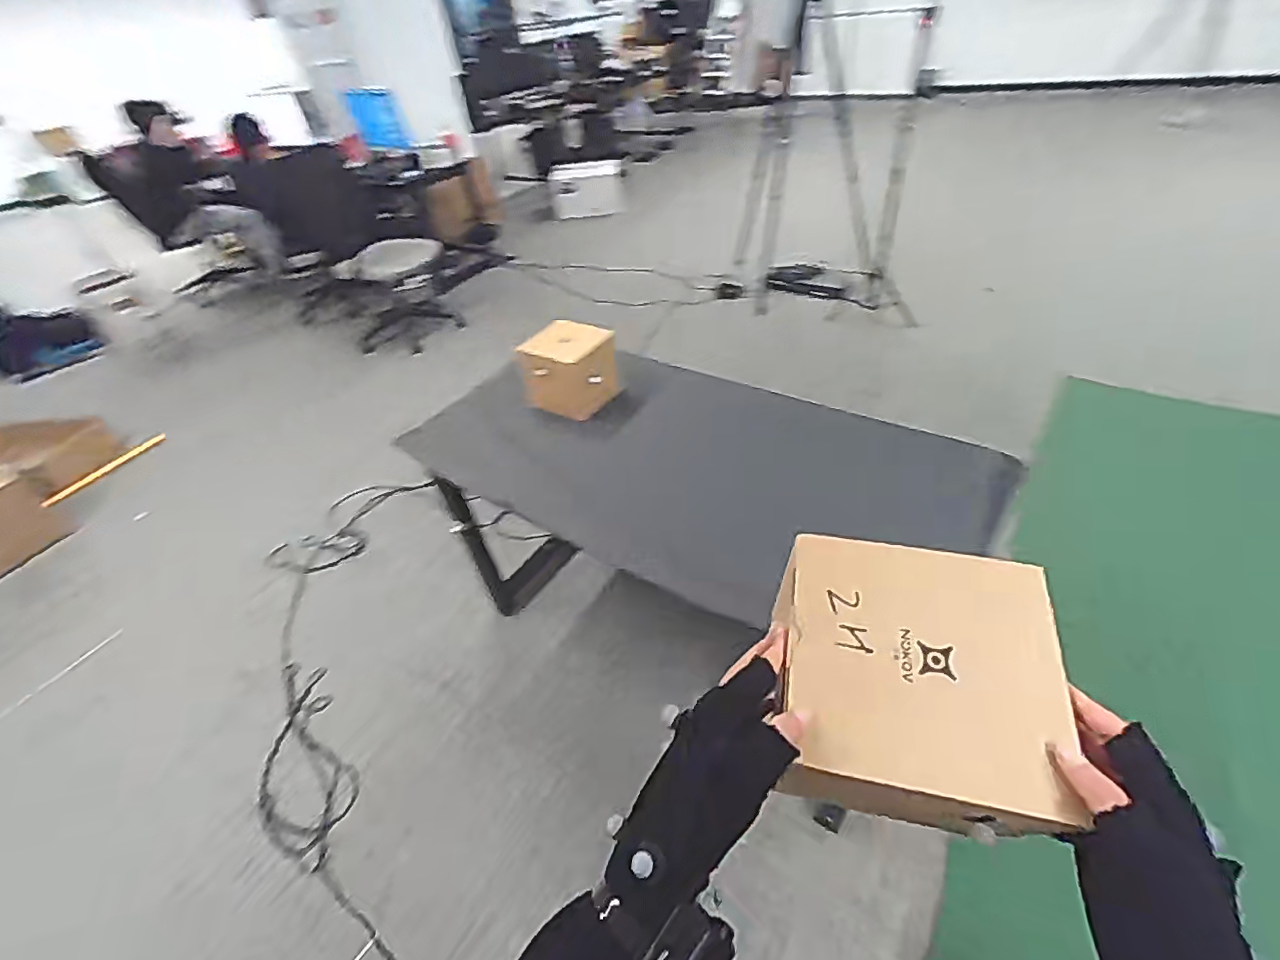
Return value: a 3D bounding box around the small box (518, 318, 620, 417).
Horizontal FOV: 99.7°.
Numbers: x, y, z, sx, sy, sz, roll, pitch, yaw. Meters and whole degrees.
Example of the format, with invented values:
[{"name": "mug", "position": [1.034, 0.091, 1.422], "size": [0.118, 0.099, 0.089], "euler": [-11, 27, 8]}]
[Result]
[{"name": "small box", "position": [-0.168, -0.279, 1.350], "size": [0.179, 0.176, 0.168], "euler": [20, 49, 28]}]
